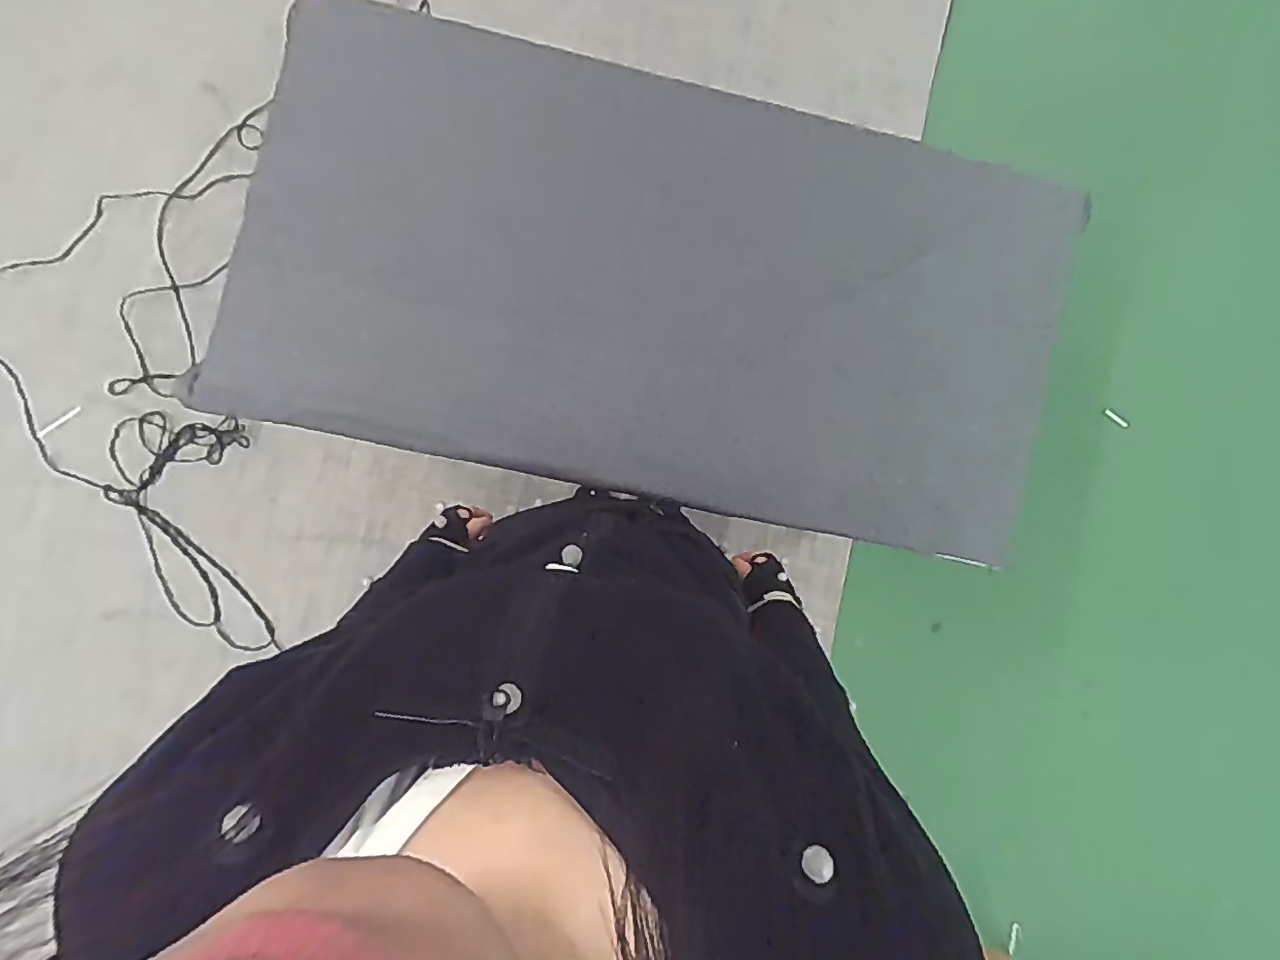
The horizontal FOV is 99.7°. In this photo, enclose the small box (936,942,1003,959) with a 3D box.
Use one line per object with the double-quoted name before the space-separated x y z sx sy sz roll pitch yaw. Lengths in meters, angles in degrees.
"small box" 0.905 1.372 1.423 0.179 0.176 0.168 12 87 -3
